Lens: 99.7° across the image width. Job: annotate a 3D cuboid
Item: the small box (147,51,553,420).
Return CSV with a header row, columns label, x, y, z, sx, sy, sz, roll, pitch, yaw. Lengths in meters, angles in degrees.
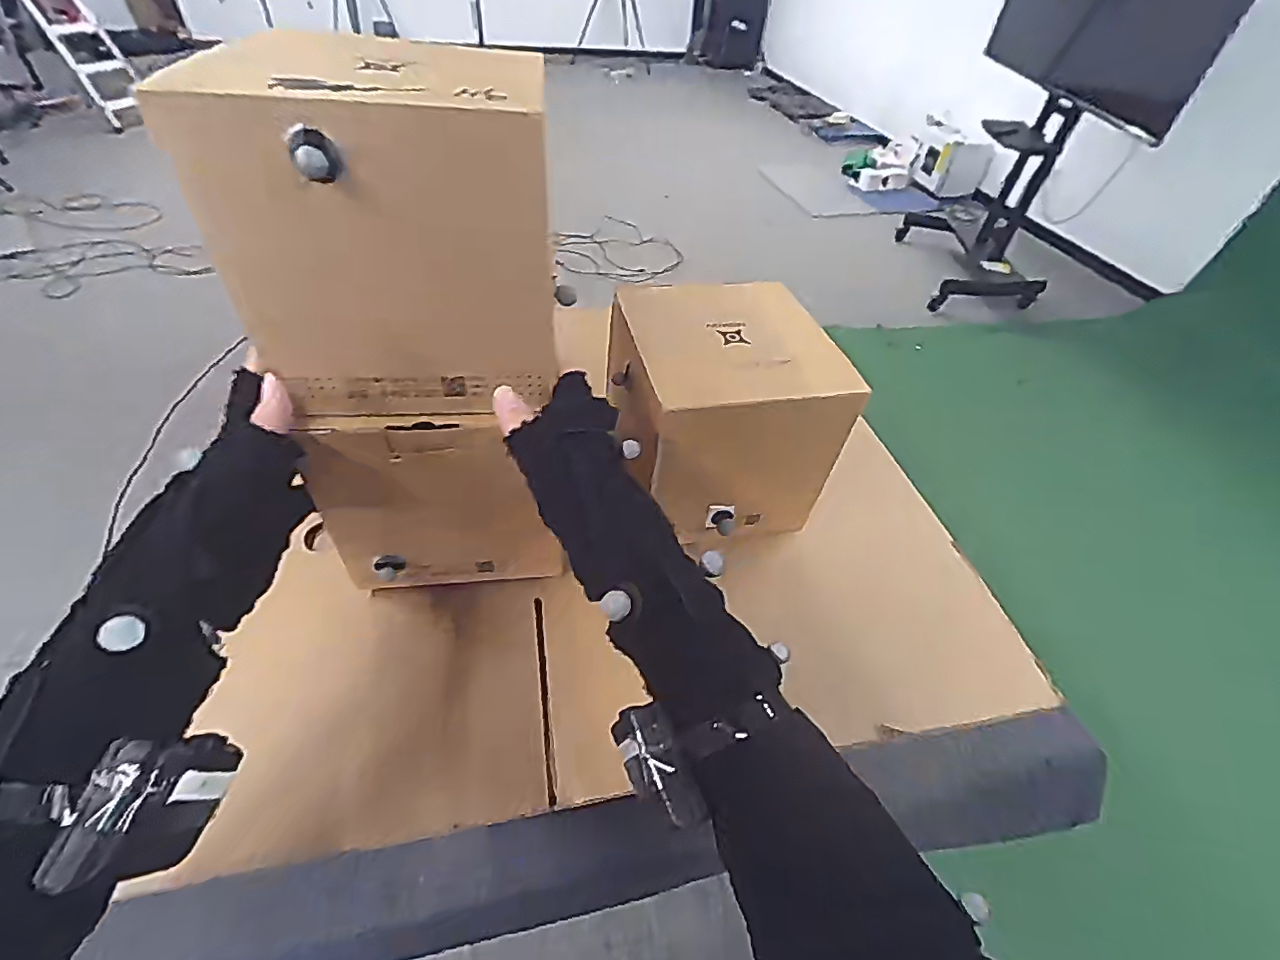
label,x,y,z,sx,sy,sz,roll,pitch,yaw
small box,-0.145,-0.157,0.352,0.168,0.176,0.179,-2,44,-8
